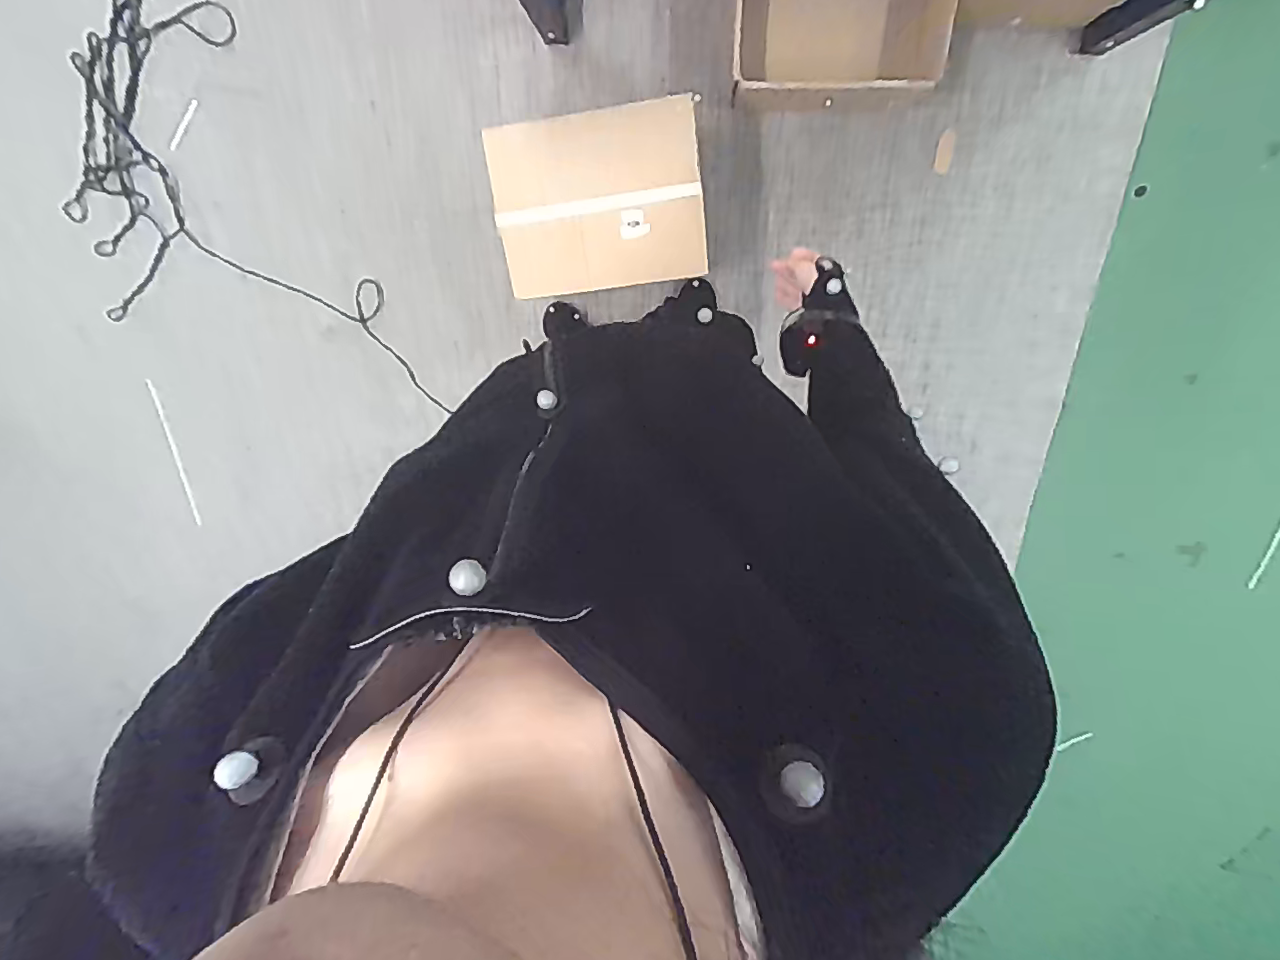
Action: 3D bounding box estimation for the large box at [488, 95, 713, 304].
[{"bbox_3d":[-0.061,-0.575,1.177,0.408,0.320,0.320,-5,110,6],"label":"large box"}]
